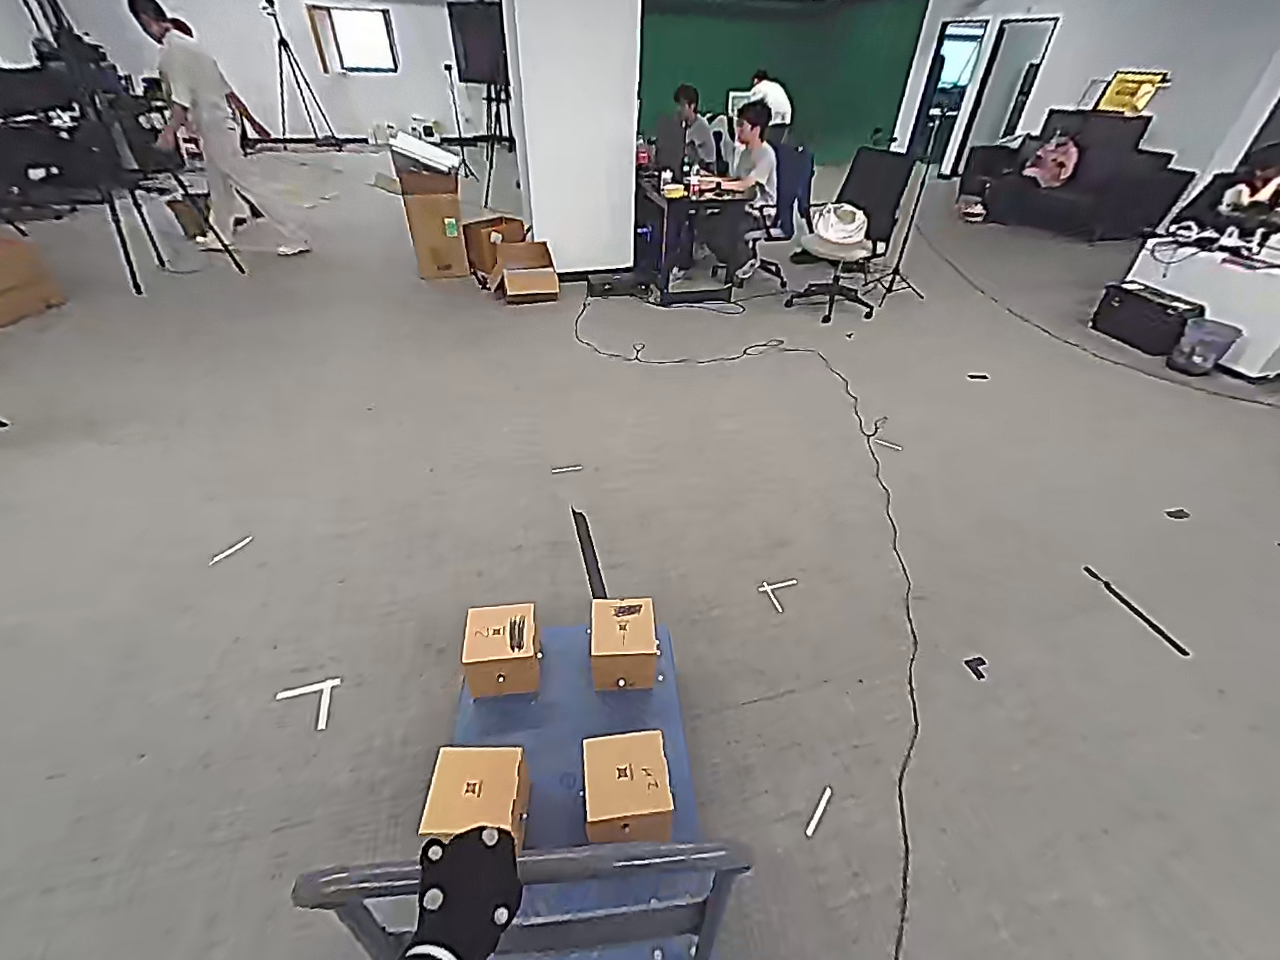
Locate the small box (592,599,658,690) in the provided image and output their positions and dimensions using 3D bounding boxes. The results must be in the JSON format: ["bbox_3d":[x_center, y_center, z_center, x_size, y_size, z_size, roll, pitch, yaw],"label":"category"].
[{"bbox_3d":[-0.045,0.442,1.460,0.168,0.176,0.179,-1,39,-4],"label":"small box"}]

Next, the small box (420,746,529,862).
[{"bbox_3d":[-0.337,0.684,1.140,0.179,0.176,0.168,2,38,-3],"label":"small box"}]

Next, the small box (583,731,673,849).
[{"bbox_3d":[-0.029,0.671,1.169,0.179,0.176,0.168,-3,39,-7],"label":"small box"}]
